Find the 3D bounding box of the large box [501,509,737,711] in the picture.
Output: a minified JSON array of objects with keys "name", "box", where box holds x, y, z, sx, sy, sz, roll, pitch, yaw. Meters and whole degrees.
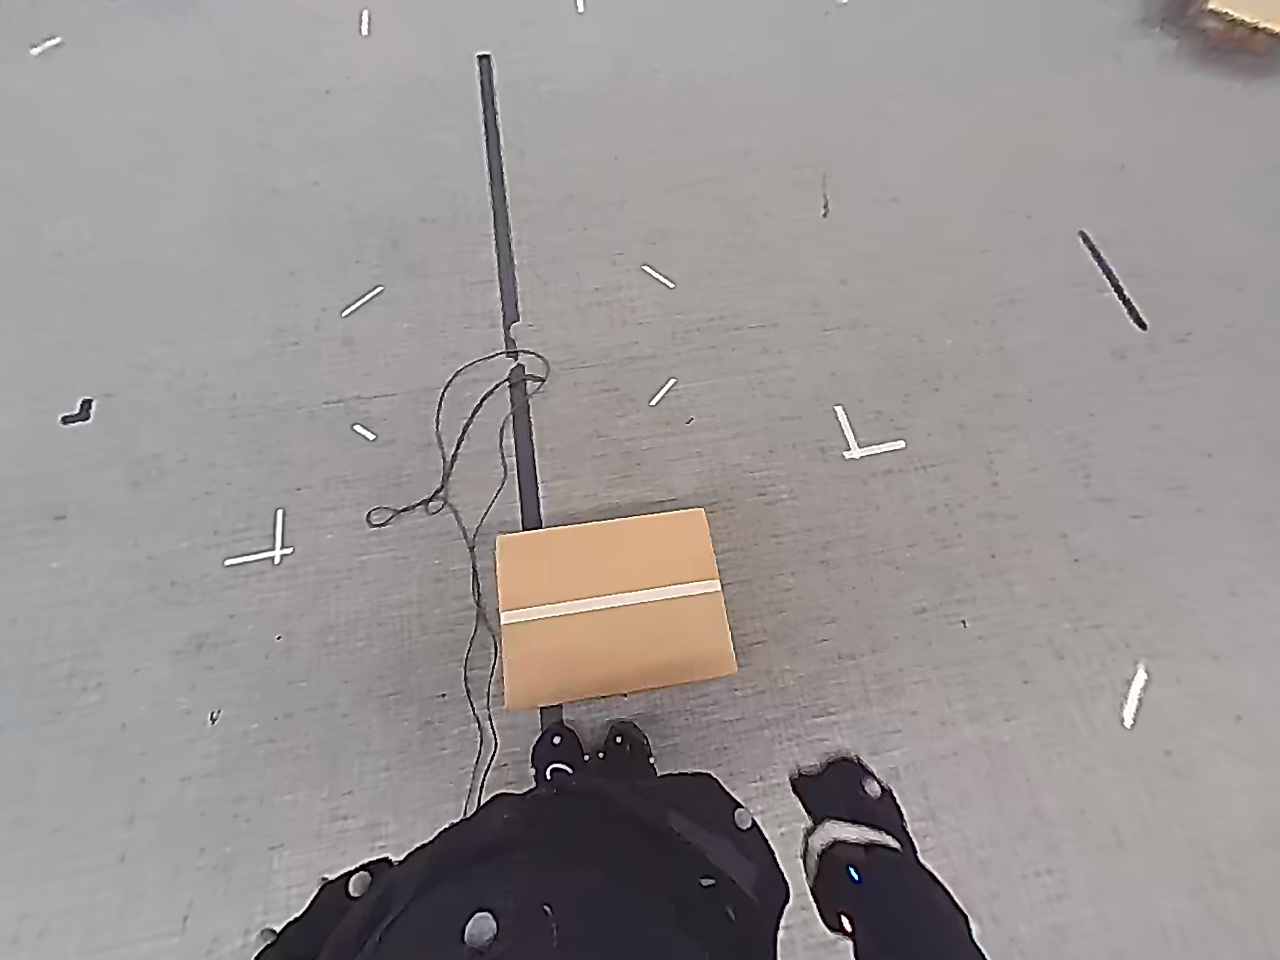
[{"name":"large box","box":[-0.052,0.279,1.126,0.408,0.320,0.320,-7,70,-5]}]
